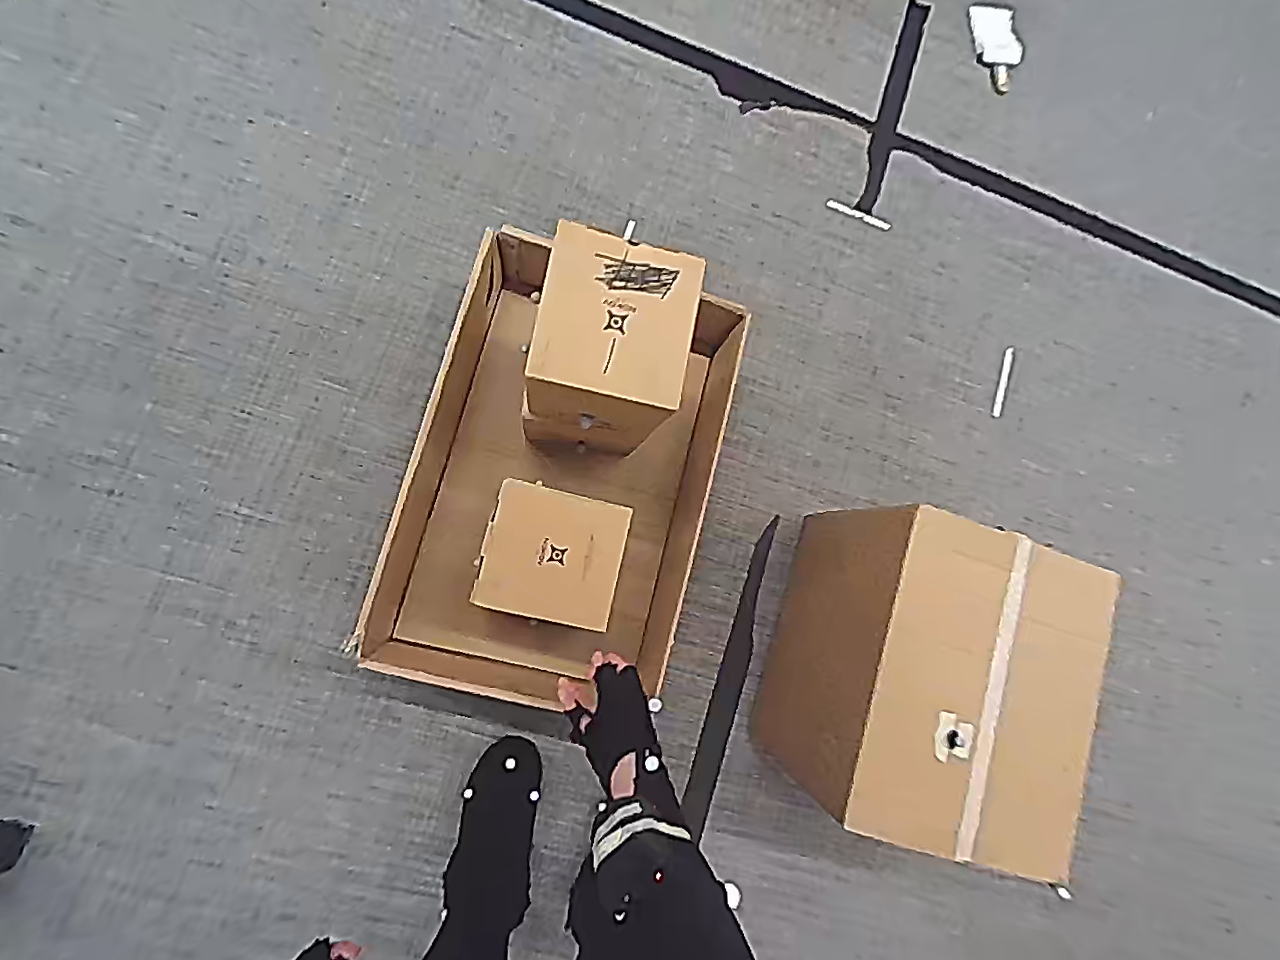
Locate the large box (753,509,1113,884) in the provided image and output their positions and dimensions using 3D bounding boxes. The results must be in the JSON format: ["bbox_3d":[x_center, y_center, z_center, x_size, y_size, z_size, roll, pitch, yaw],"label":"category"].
[{"bbox_3d":[0.410,0.279,0.818,0.320,0.320,0.408,18,82,-7],"label":"large box"}]

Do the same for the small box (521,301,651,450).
[{"bbox_3d":[-0.076,-0.142,0.802,0.179,0.176,0.168,8,83,-10],"label":"small box"}]

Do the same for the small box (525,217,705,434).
[{"bbox_3d":[-0.036,-0.167,0.642,0.168,0.176,0.179,12,83,-8],"label":"small box"}]
